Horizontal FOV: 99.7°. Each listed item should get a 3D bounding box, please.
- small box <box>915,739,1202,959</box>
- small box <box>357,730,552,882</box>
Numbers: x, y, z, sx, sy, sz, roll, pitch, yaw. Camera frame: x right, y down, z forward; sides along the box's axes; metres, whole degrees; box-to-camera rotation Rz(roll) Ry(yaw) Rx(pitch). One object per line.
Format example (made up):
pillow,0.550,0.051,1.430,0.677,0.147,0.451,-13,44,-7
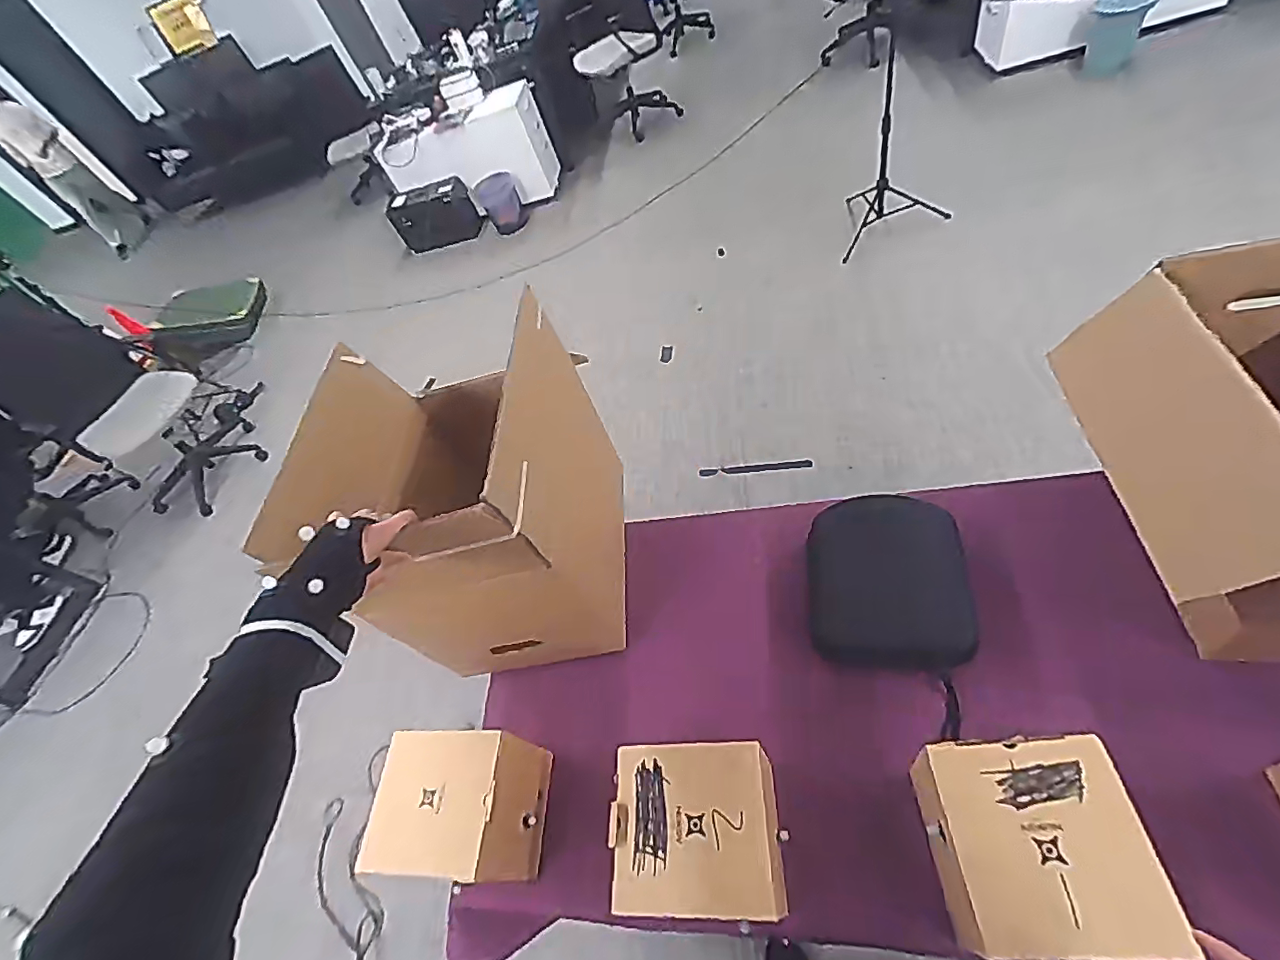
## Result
small box,0.407,0.390,0.573,0.168,0.176,0.179,-11,53,13
small box,-0.246,0.460,0.763,0.179,0.176,0.168,-7,53,14
